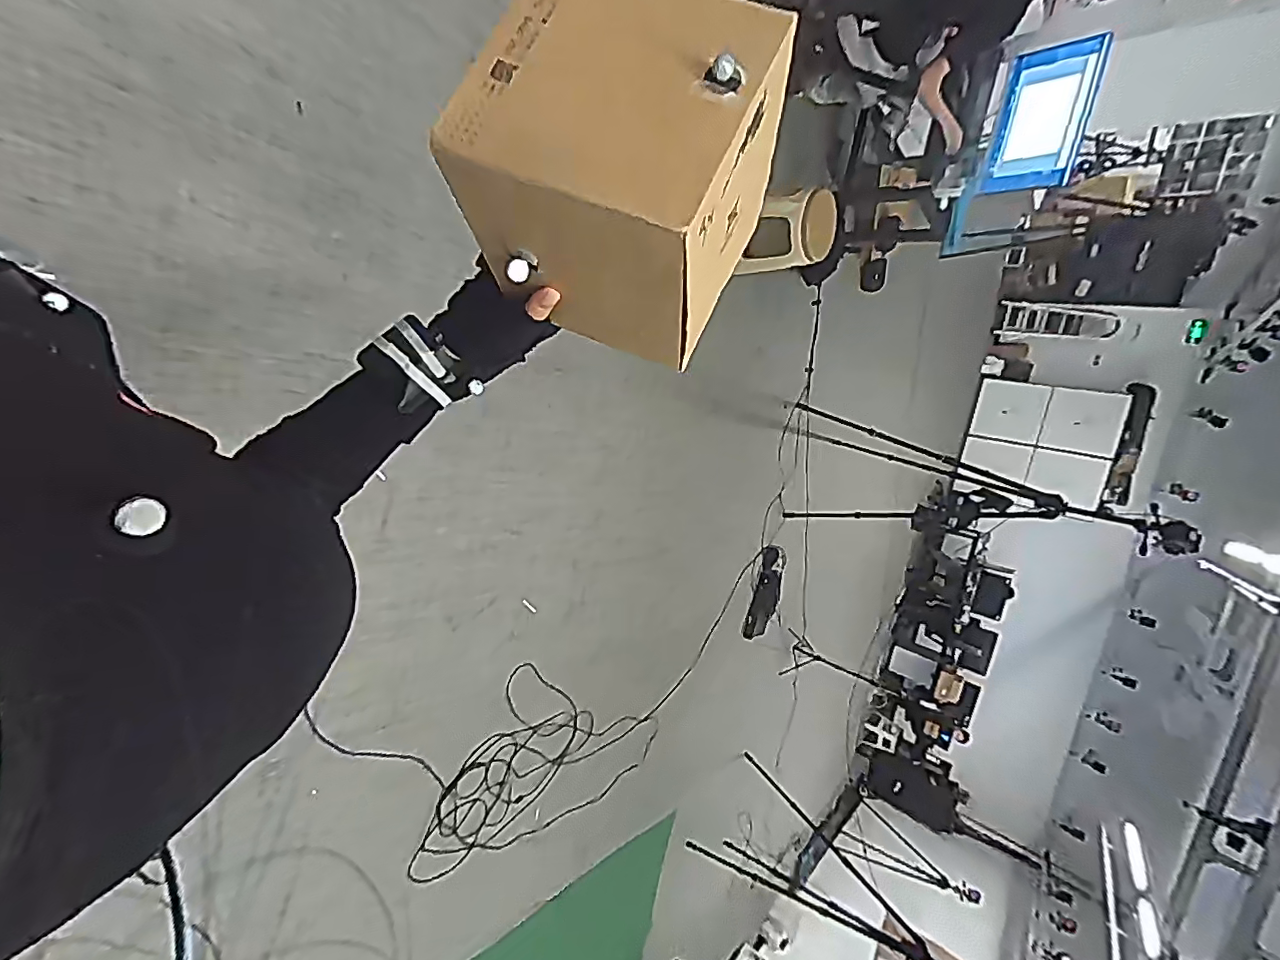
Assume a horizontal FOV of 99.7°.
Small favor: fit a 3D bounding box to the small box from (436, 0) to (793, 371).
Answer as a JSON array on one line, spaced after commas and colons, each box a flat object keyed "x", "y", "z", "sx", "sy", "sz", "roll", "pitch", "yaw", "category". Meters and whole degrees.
[{"x": -0.014, "y": -0.213, "z": 0.399, "sx": 0.179, "sy": 0.176, "sz": 0.168, "roll": 82, "pitch": 31, "yaw": -76, "category": "small box"}]
